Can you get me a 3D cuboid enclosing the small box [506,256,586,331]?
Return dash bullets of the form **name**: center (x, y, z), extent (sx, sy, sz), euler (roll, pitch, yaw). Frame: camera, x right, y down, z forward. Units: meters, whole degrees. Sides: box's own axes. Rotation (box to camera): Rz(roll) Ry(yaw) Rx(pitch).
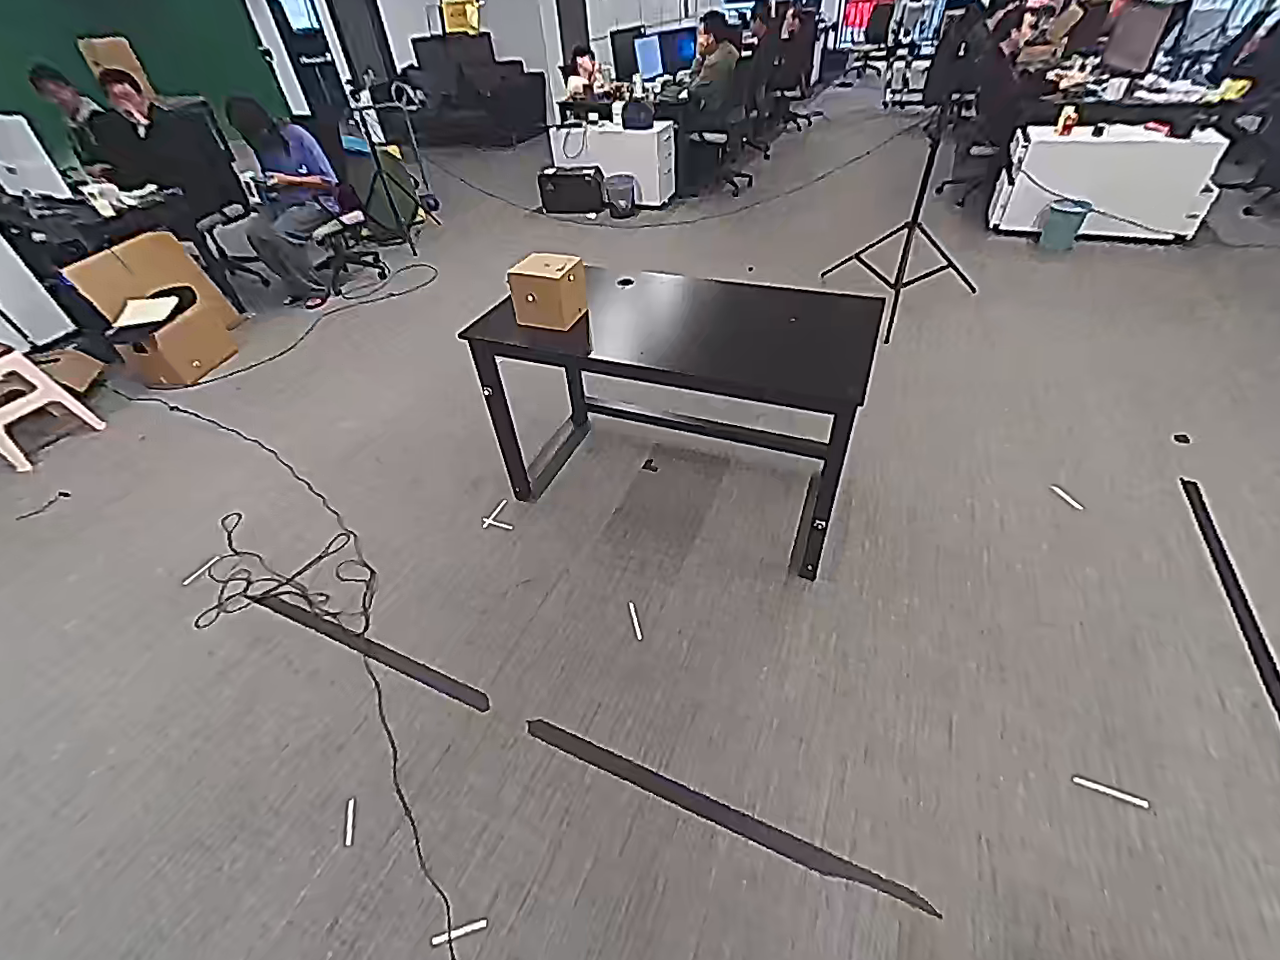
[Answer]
- **small box**: center (-0.286, -0.581, 1.686), extent (0.179, 0.176, 0.168), euler (12, 45, 18)
